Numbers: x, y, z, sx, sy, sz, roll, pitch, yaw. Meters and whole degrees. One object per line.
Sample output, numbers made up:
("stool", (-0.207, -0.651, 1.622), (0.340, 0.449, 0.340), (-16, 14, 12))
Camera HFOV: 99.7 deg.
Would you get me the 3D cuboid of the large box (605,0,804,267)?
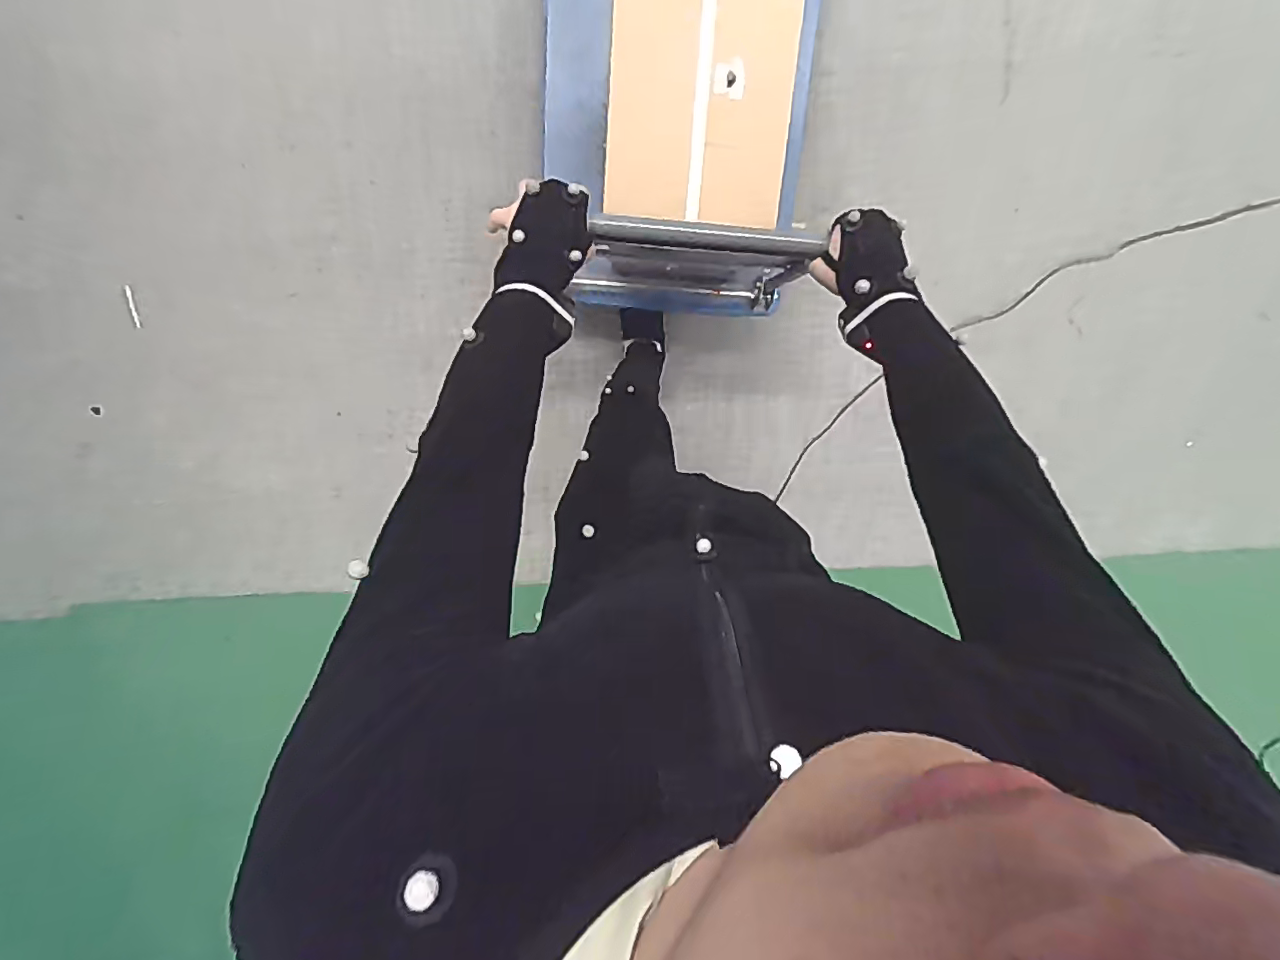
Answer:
("large box", (0.102, -0.652, 1.059), (0.320, 0.320, 0.408), (4, 105, -2))
